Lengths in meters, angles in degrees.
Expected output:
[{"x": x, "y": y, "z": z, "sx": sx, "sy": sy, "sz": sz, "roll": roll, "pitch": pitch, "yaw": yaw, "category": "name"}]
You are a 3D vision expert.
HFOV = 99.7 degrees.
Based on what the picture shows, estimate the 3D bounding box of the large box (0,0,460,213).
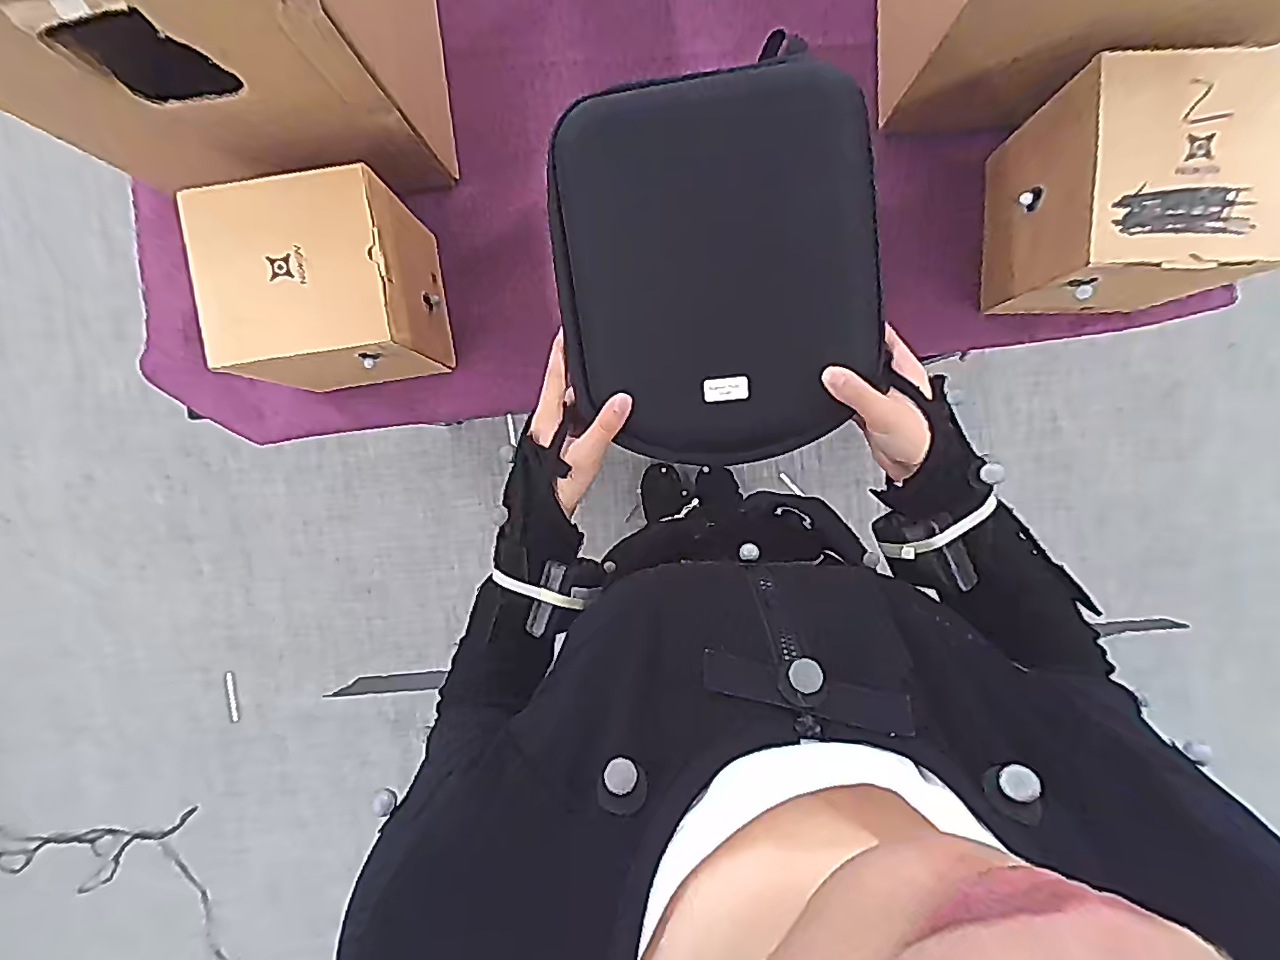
[{"x": -0.393, "y": -0.525, "z": 0.496, "sx": 0.320, "sy": 0.320, "sz": 0.408, "roll": -7, "pitch": 96, "yaw": 3, "category": "large box"}]
